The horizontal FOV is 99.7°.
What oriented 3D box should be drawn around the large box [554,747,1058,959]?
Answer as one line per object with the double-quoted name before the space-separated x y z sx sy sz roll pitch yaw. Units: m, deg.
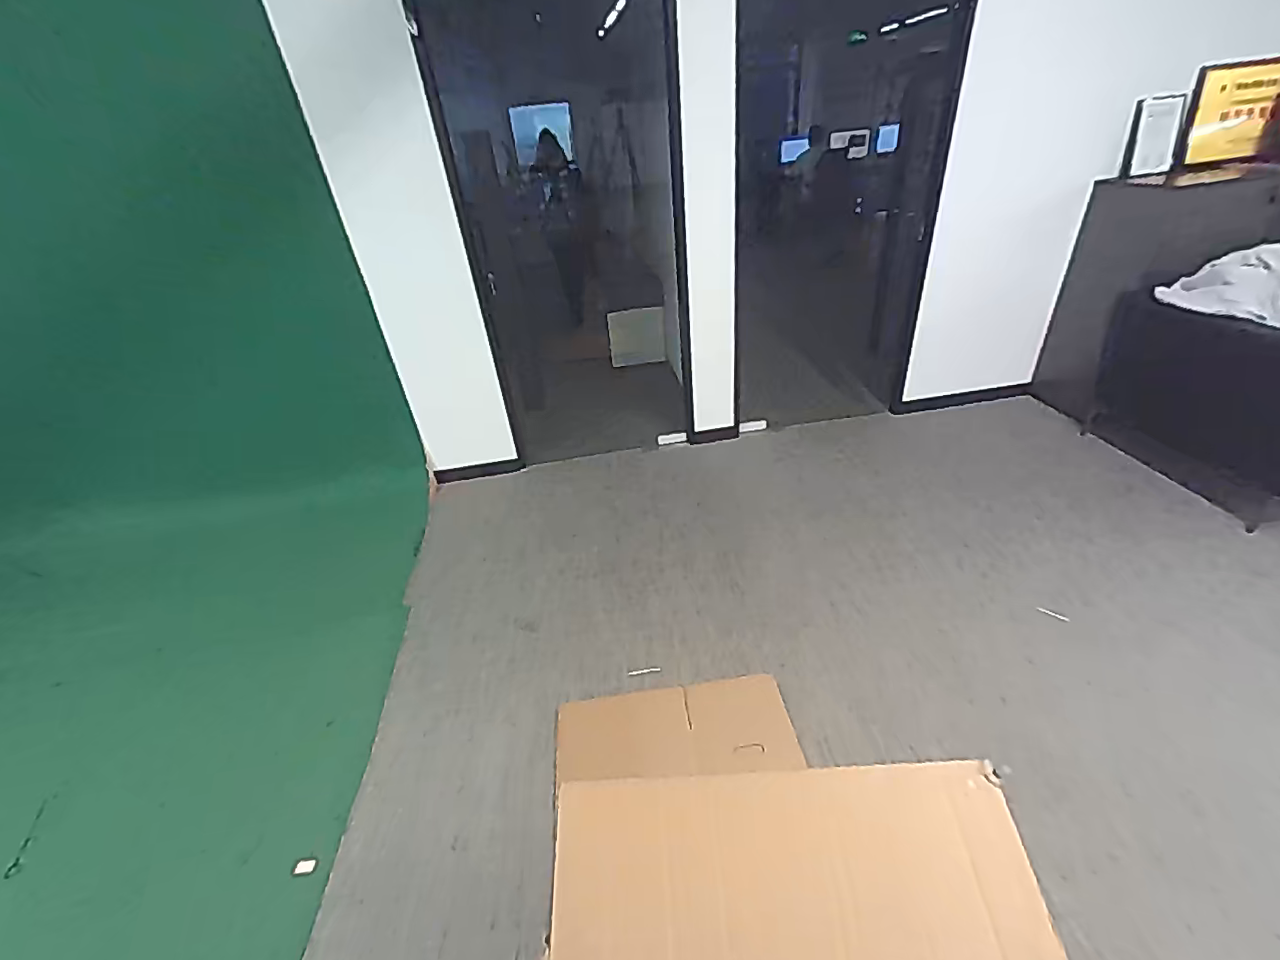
"large box" 0.137 0.481 0.540 0.408 0.320 0.320 -4 52 3
